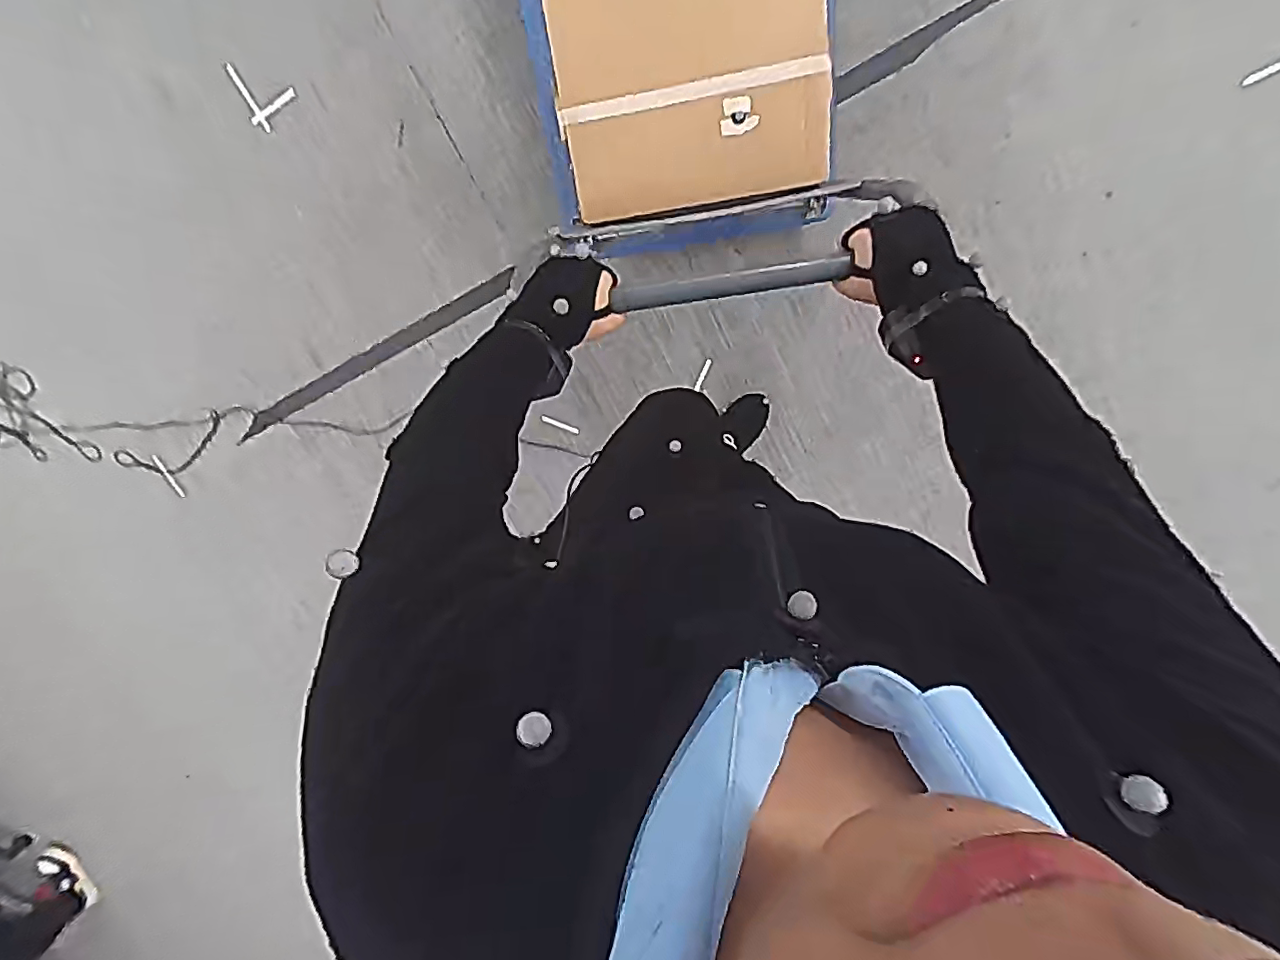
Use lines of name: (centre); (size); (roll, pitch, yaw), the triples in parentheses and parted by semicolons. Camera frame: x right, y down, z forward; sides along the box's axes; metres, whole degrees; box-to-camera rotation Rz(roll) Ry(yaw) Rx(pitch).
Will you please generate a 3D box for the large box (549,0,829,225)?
large box: (0.091, -0.662, 0.969); (0.408, 0.320, 0.320); (-7, 115, 6)
